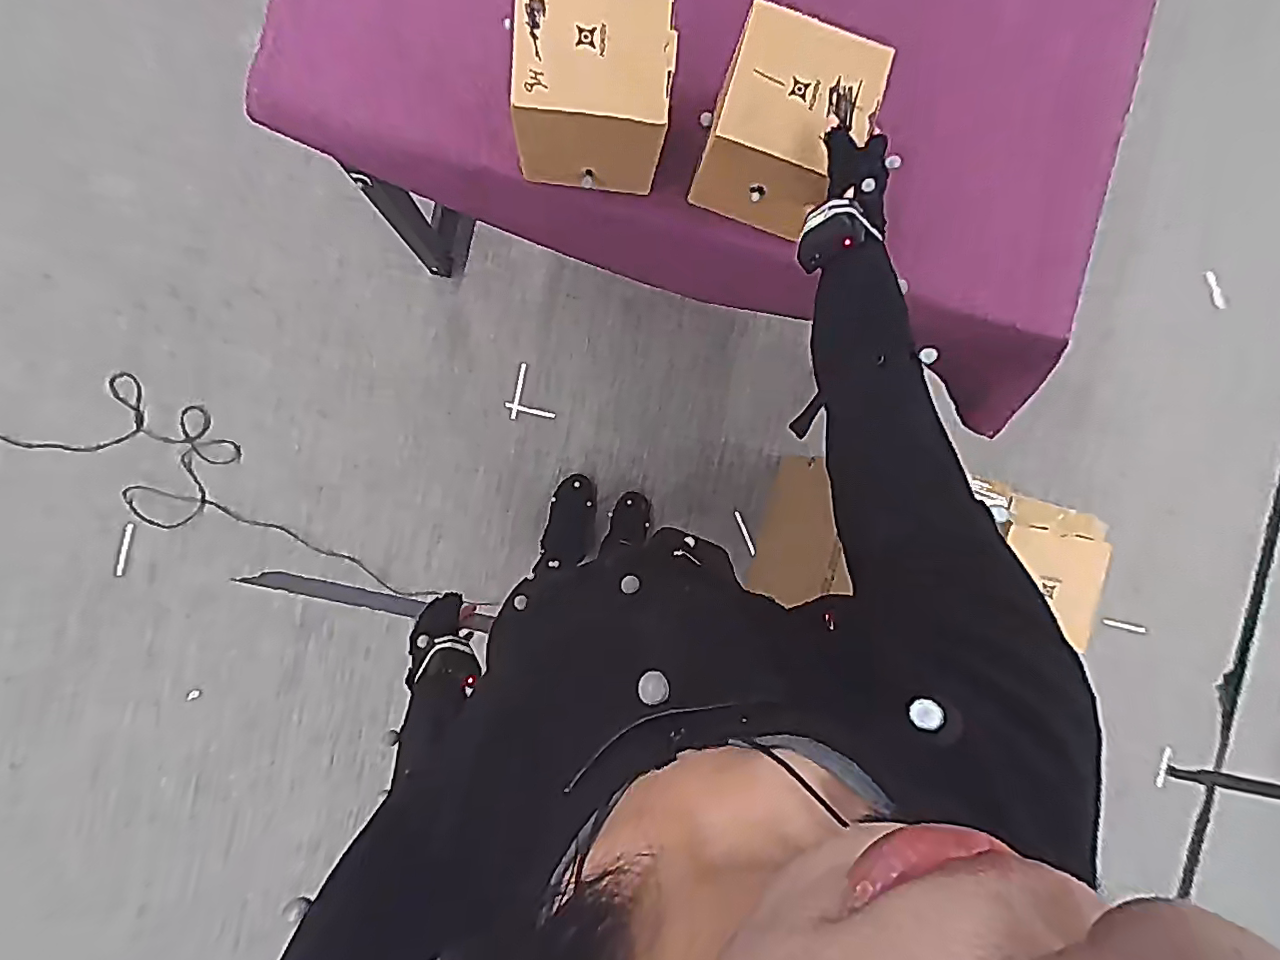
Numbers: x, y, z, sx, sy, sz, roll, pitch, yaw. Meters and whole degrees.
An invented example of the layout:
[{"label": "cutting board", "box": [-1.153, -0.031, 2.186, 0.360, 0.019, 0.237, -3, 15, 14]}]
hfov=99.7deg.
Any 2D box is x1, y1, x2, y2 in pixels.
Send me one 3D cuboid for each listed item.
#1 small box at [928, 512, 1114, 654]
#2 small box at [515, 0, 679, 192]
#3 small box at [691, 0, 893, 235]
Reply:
[{"label": "small box", "box": [0.601, 0.155, 0.875, 0.168, 0.176, 0.179, 11, 93, -4]}, {"label": "small box", "box": [-0.057, -0.486, 0.675, 0.179, 0.176, 0.168, 3, 91, -8]}, {"label": "small box", "box": [0.183, -0.447, 0.702, 0.179, 0.176, 0.168, 17, 90, -6]}]
